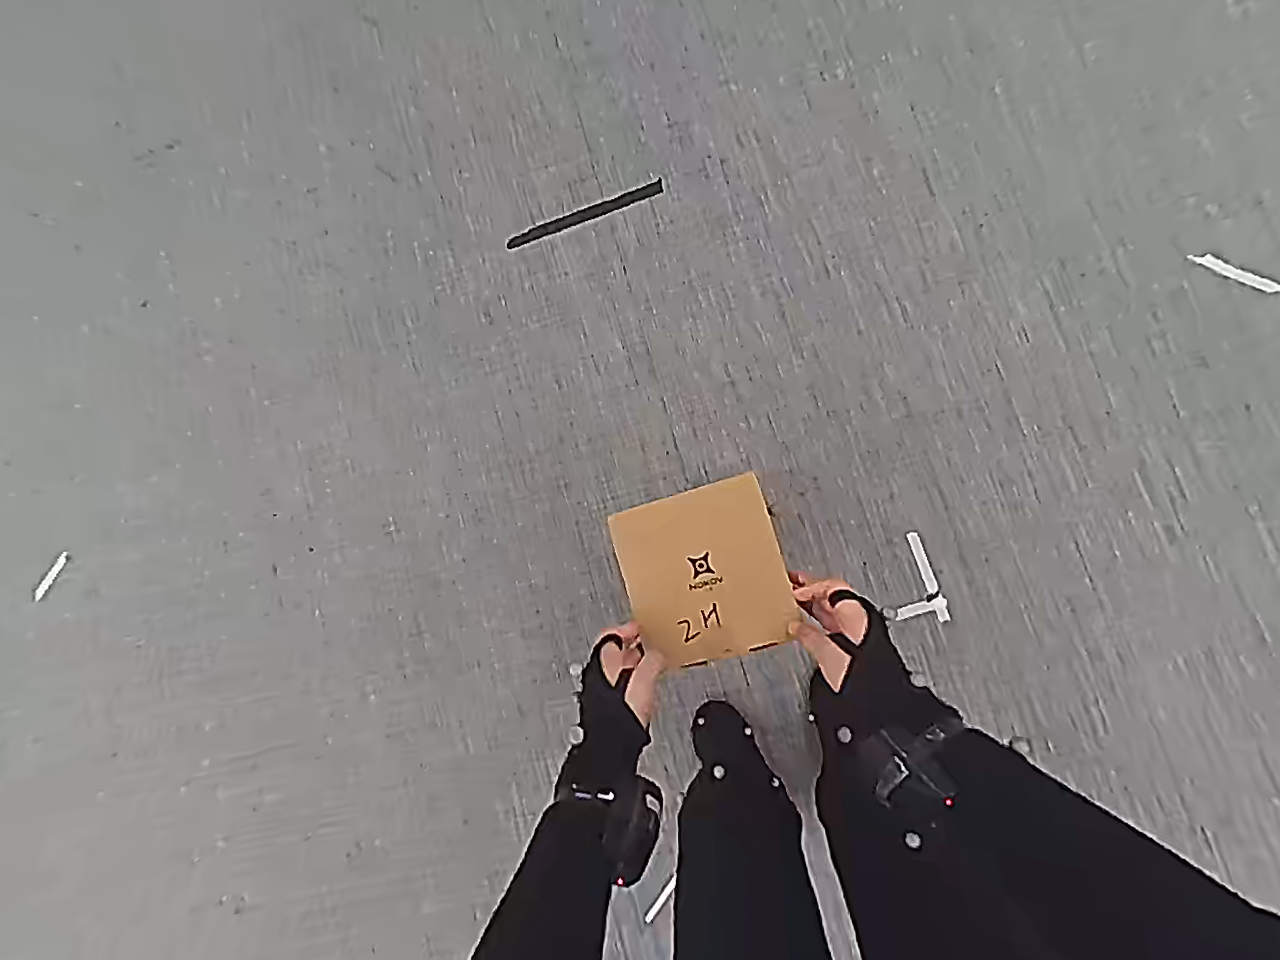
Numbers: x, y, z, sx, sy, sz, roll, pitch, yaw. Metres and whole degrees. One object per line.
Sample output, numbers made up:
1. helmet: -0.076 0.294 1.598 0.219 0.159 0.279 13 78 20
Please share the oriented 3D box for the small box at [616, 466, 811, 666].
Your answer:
1. small box: 0.087 0.096 0.637 0.168 0.176 0.179 -17 83 10
